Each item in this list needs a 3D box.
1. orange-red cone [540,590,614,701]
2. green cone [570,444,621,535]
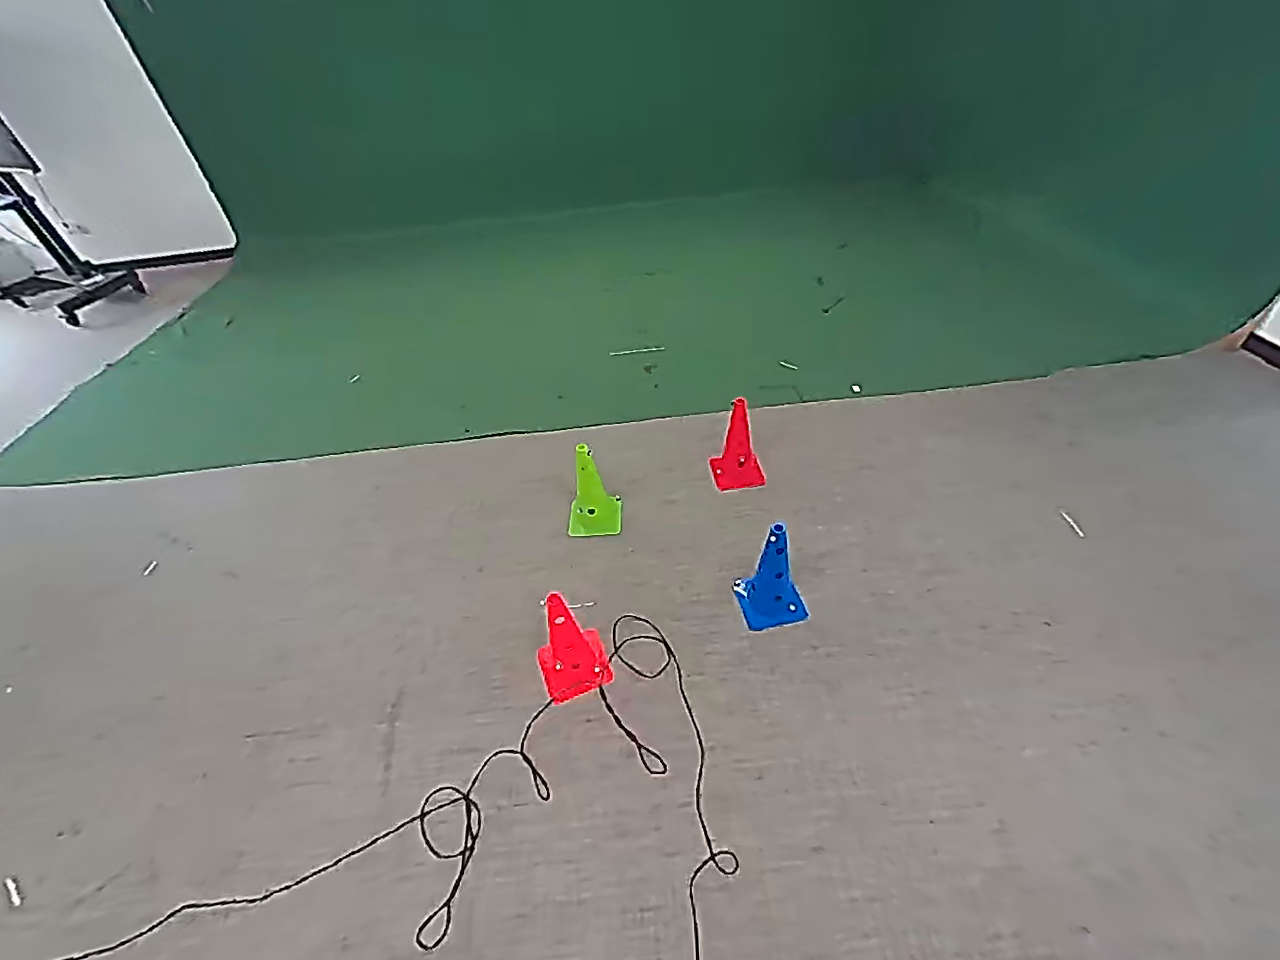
[{"bbox_3d":[-0.209,0.437,1.547,0.198,0.360,0.199,-18,42,-14],"label":"orange-red cone"},{"bbox_3d":[-0.188,0.012,1.999,0.200,0.368,0.202,-5,44,3],"label":"green cone"}]
